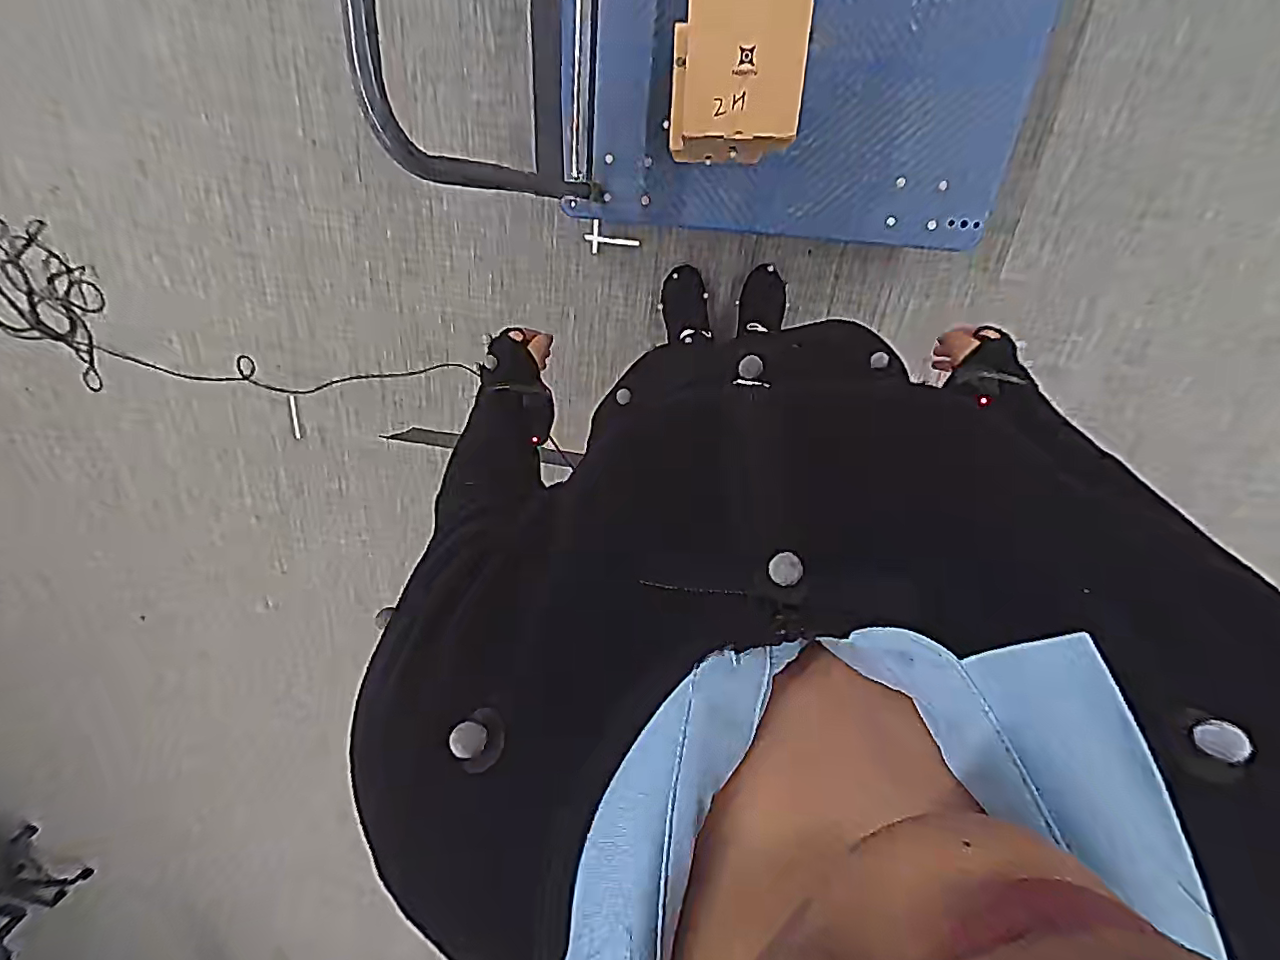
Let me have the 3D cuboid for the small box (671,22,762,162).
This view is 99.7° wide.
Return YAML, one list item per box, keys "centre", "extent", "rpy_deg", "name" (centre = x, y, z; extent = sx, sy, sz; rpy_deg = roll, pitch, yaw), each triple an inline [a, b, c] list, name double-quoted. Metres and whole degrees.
- centre: [0.143, -0.677, 0.962]
  extent: [0.168, 0.176, 0.179]
  rpy_deg: [4, 116, 5]
  name: "small box"

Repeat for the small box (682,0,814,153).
- centre: [0.152, -0.606, 0.812]
  extent: [0.168, 0.176, 0.179]
  rpy_deg: [4, 116, 5]
  name: "small box"
